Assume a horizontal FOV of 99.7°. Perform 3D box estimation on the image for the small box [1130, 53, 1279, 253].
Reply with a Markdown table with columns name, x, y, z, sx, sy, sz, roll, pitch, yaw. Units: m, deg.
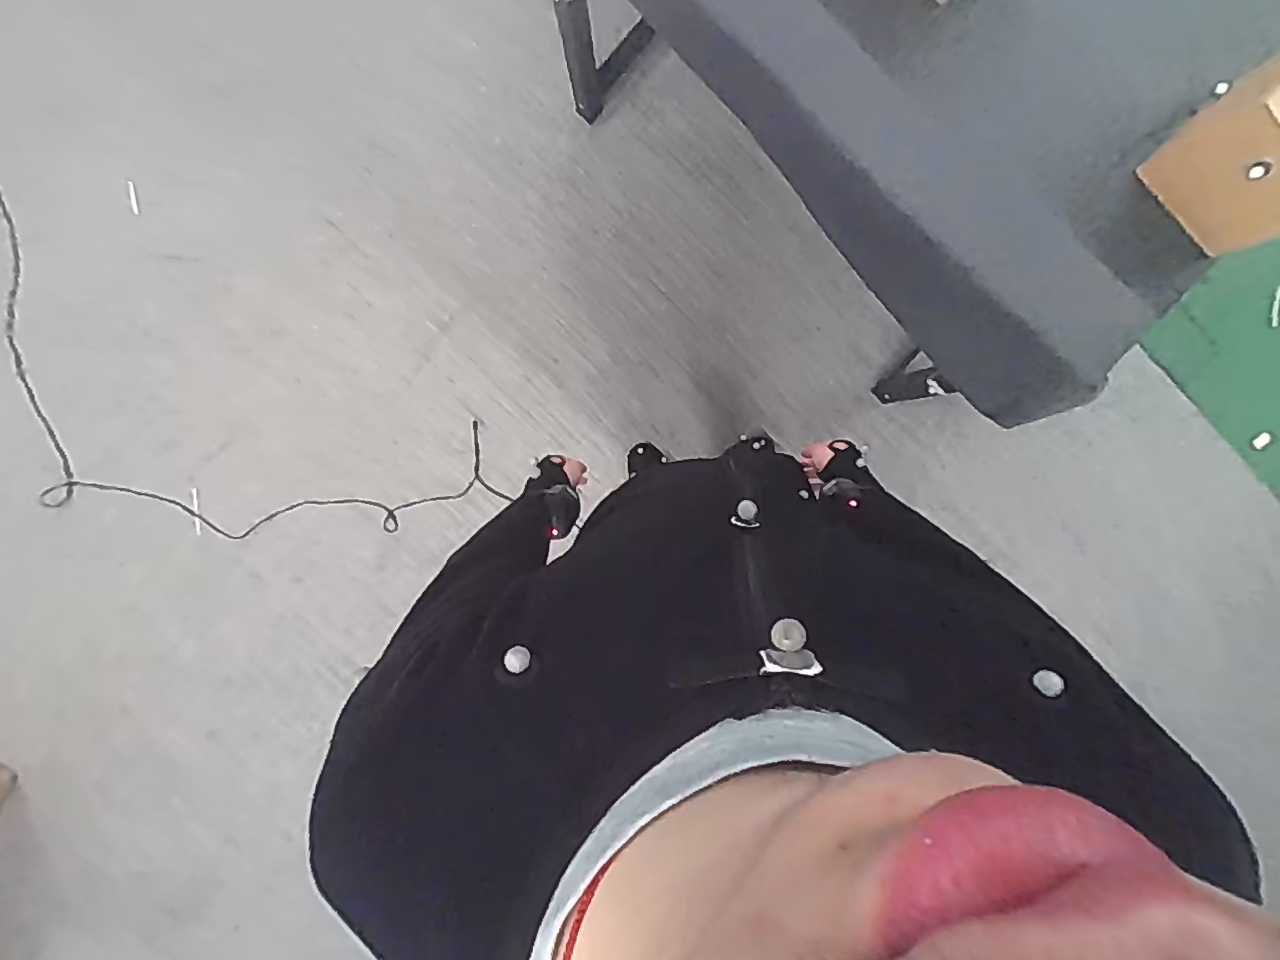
| name | x | y | z | sx | sy | sz | roll | pitch | yaw |
| --- | --- | --- | --- | --- | --- | --- | --- | --- | --- |
| small box | 0.834 | -0.442 | 0.725 | 0.179 | 0.176 | 0.168 | 45 | 91 | -4 |
